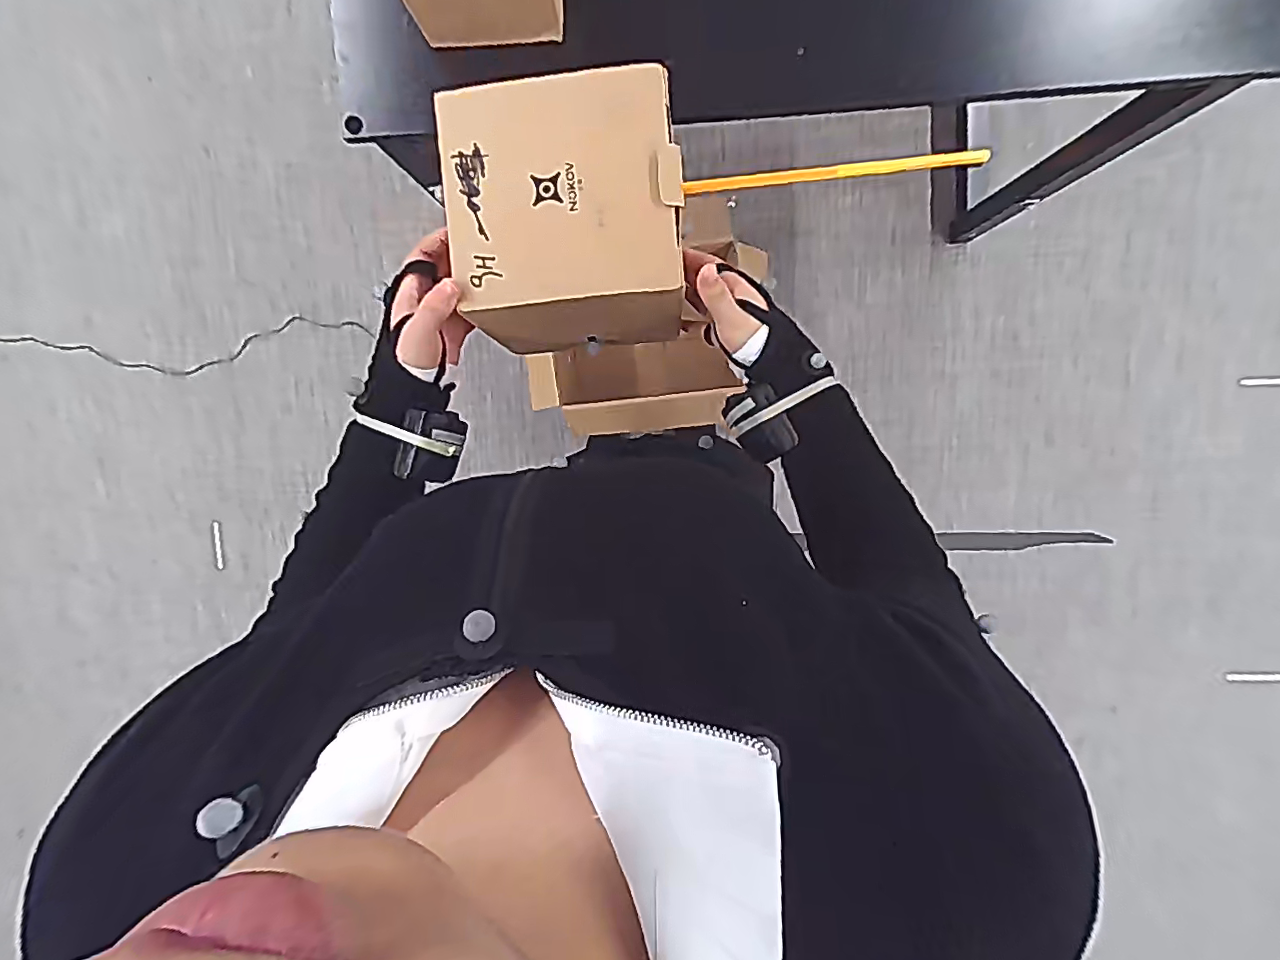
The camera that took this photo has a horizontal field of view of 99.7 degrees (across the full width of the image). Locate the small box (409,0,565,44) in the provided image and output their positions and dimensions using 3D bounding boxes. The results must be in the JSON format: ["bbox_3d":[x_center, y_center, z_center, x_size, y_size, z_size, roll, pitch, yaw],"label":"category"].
[{"bbox_3d":[-0.186,-0.624,0.599,0.179,0.176,0.168,-2,98,1],"label":"small box"}]
